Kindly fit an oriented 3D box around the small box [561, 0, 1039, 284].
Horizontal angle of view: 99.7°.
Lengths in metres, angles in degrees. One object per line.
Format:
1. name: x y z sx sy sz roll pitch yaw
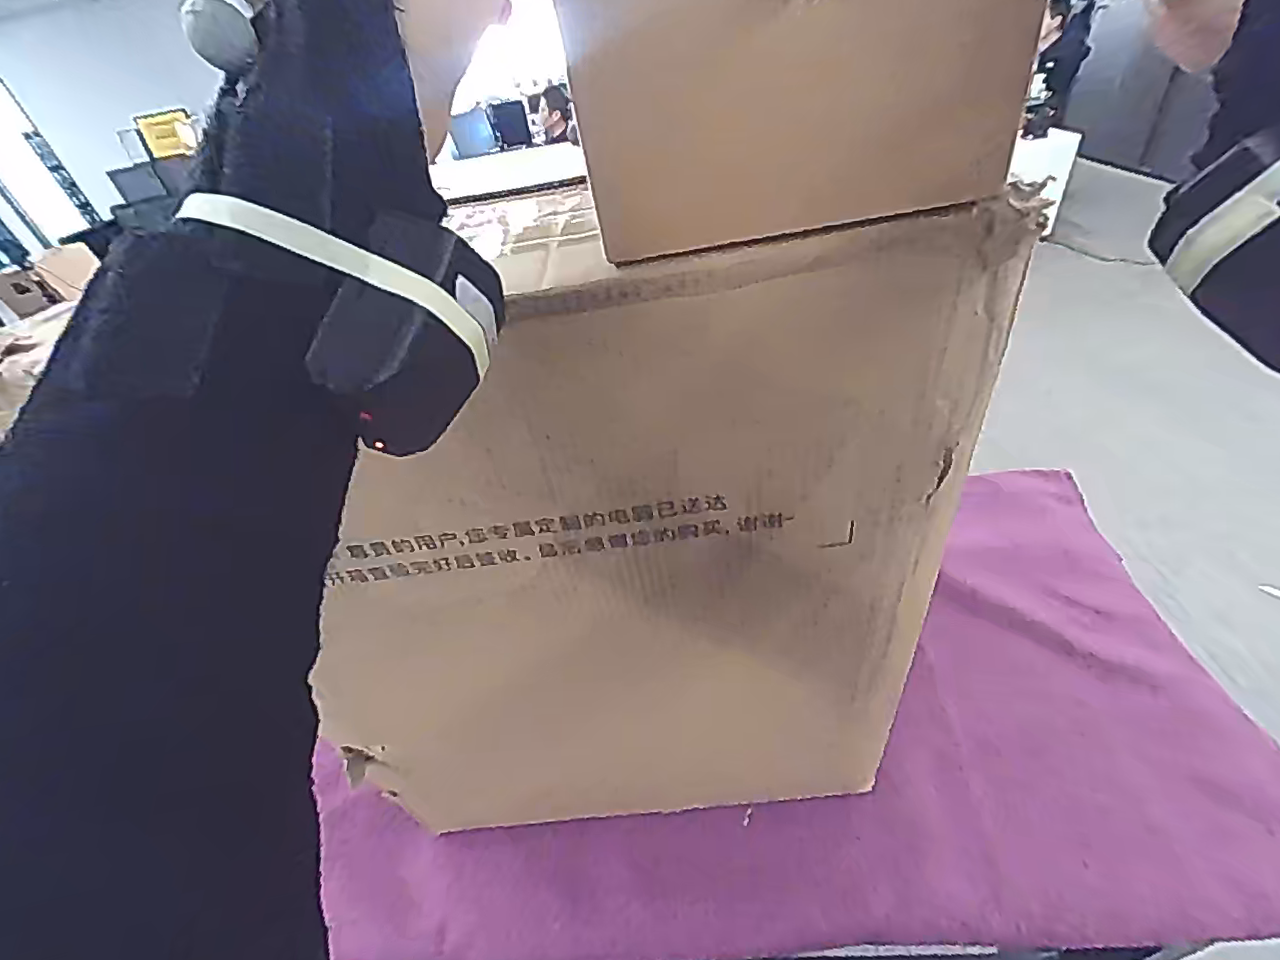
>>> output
1. small box: 0.056 -0.214 0.247 0.168 0.176 0.179 -6 40 7
